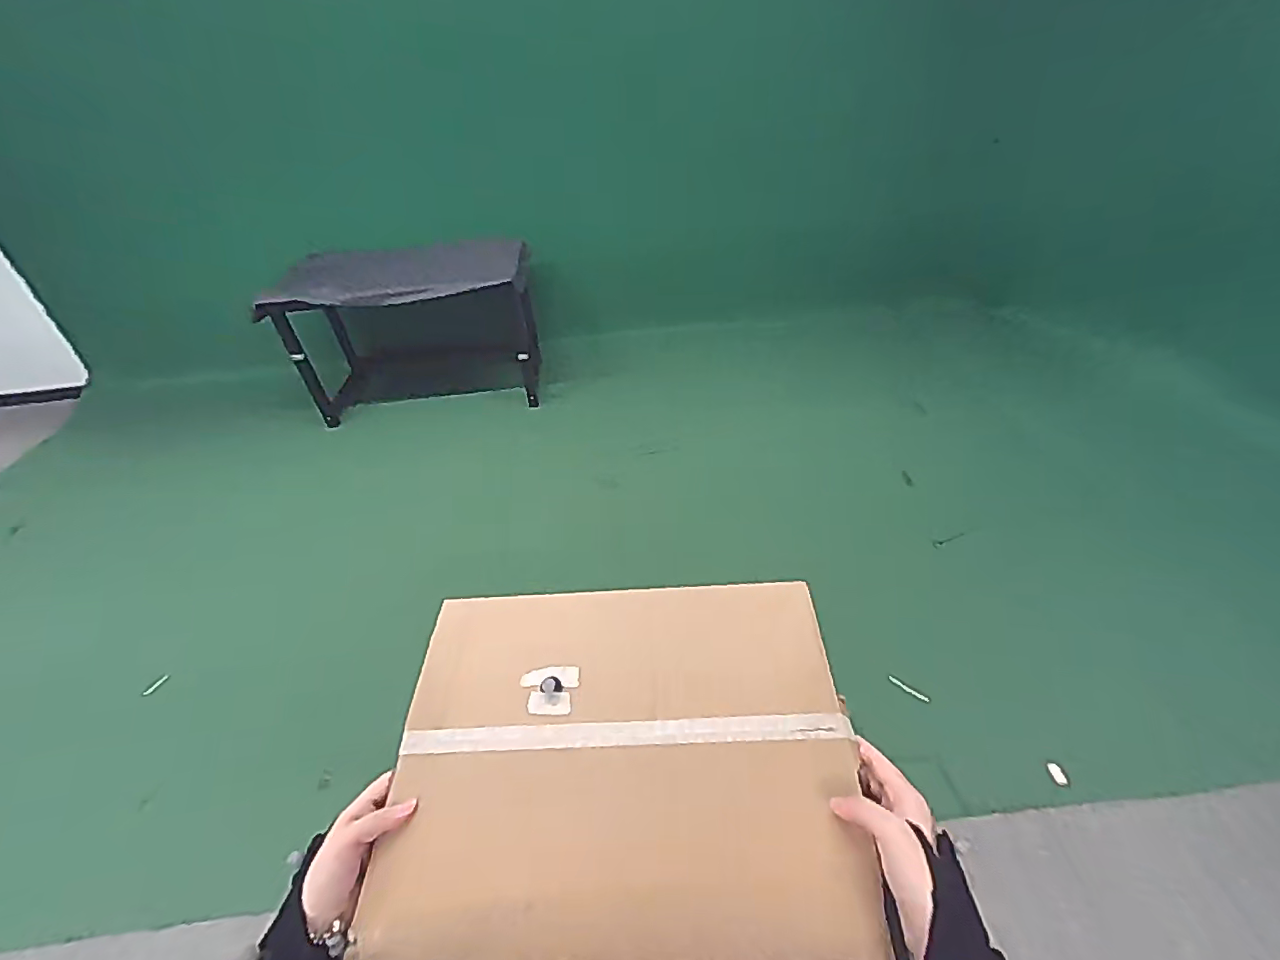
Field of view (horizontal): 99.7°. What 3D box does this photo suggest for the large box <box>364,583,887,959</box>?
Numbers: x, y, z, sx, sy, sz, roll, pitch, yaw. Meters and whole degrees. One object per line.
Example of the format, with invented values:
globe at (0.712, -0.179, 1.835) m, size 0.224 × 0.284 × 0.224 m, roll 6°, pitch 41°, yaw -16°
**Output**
large box at (-0.001, 0.344, 0.610) m, size 0.408 × 0.320 × 0.320 m, roll -5°, pitch 45°, yaw 5°
